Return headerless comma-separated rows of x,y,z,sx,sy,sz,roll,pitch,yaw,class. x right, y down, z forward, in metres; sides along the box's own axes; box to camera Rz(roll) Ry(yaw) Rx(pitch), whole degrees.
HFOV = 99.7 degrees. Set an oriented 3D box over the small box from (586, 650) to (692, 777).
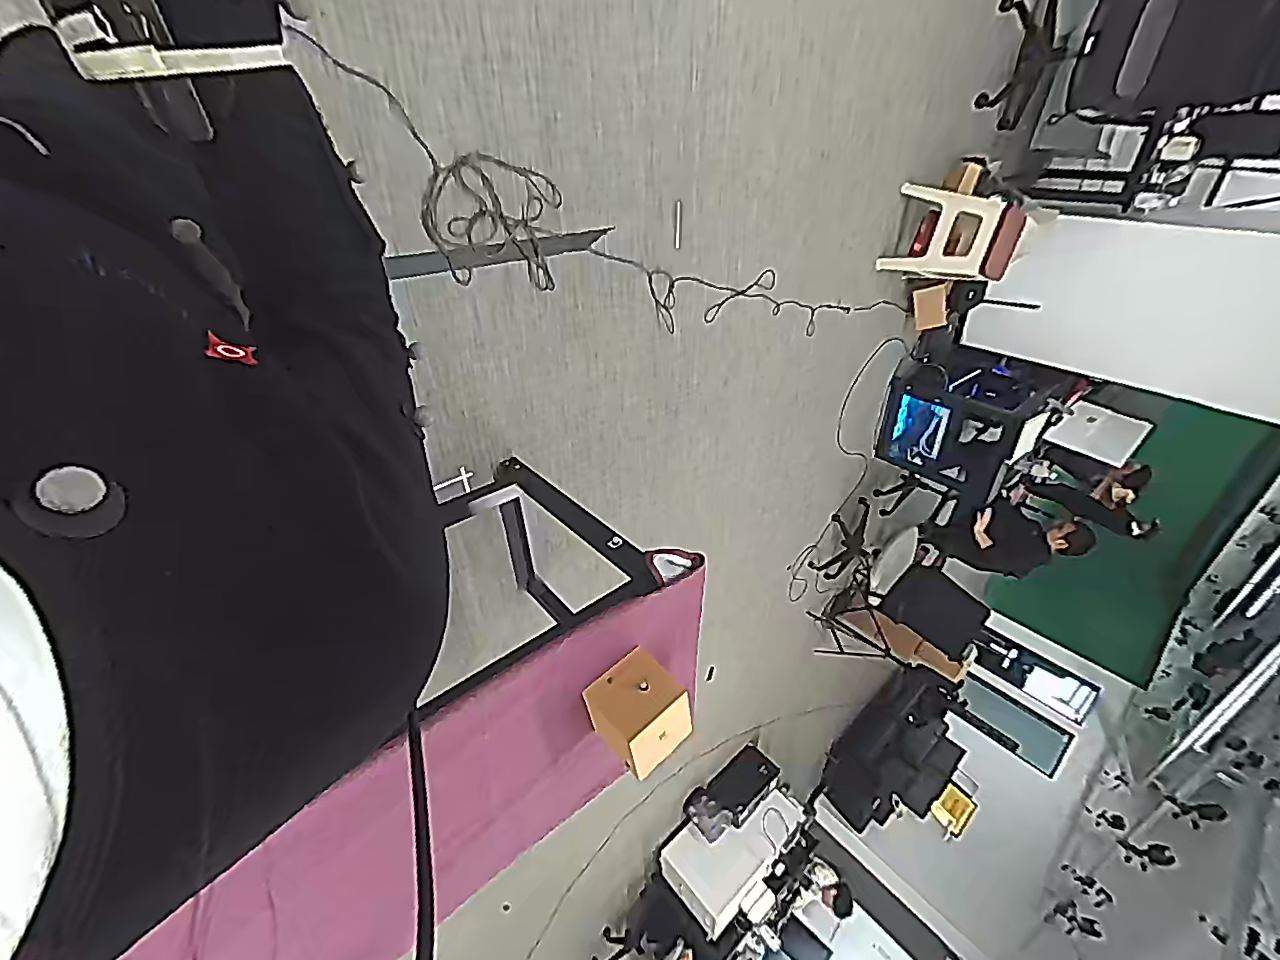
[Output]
-0.003,0.512,1.216,0.168,0.176,0.179,-33,134,-27,small box
